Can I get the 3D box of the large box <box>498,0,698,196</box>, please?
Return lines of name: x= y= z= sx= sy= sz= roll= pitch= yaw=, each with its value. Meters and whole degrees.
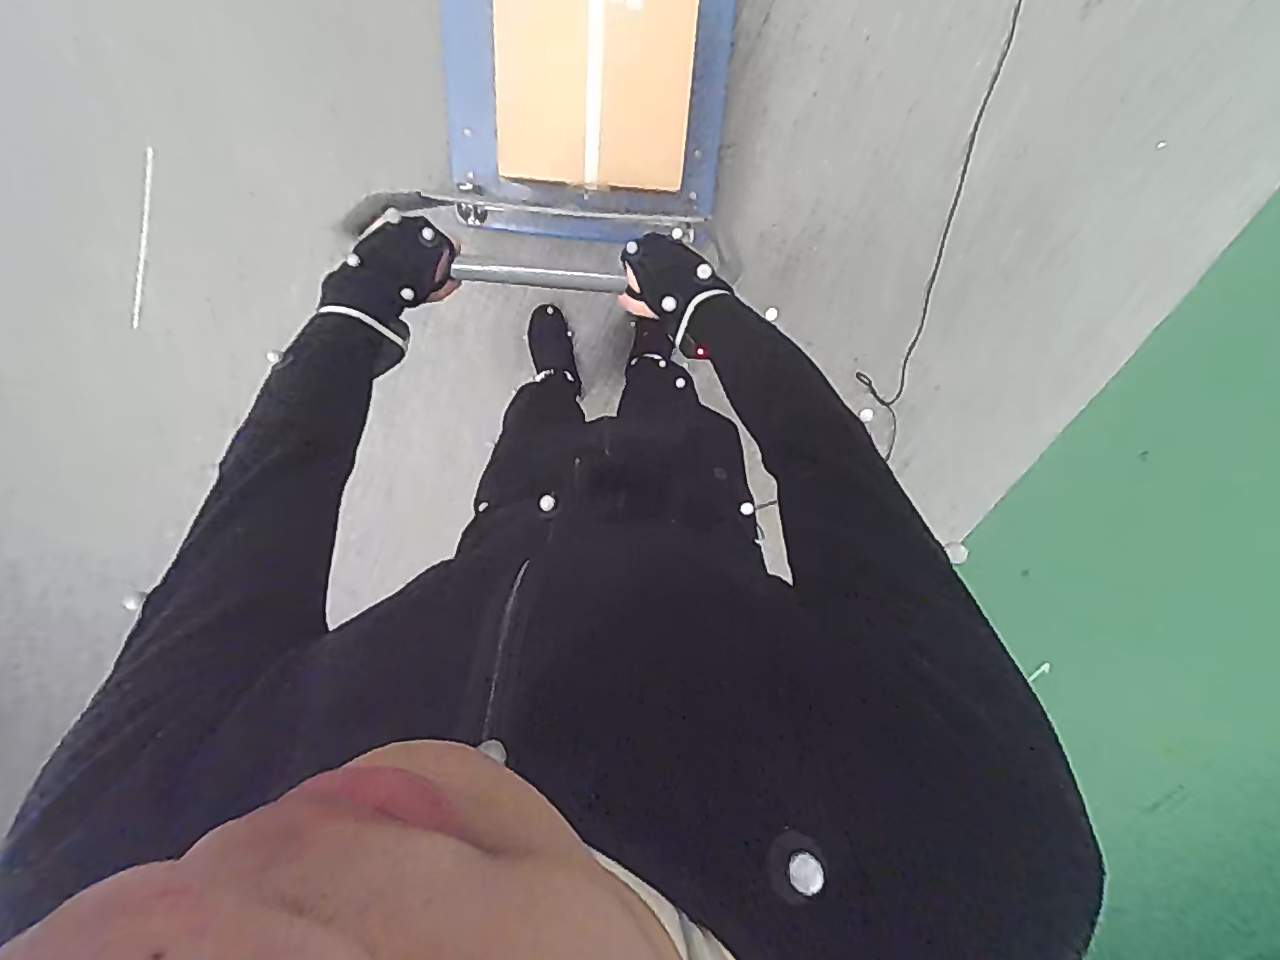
large box: x=-0.068 y=-0.760 z=0.989 sx=0.320 sy=0.320 sz=0.408 roll=4 pitch=115 yaw=-3
